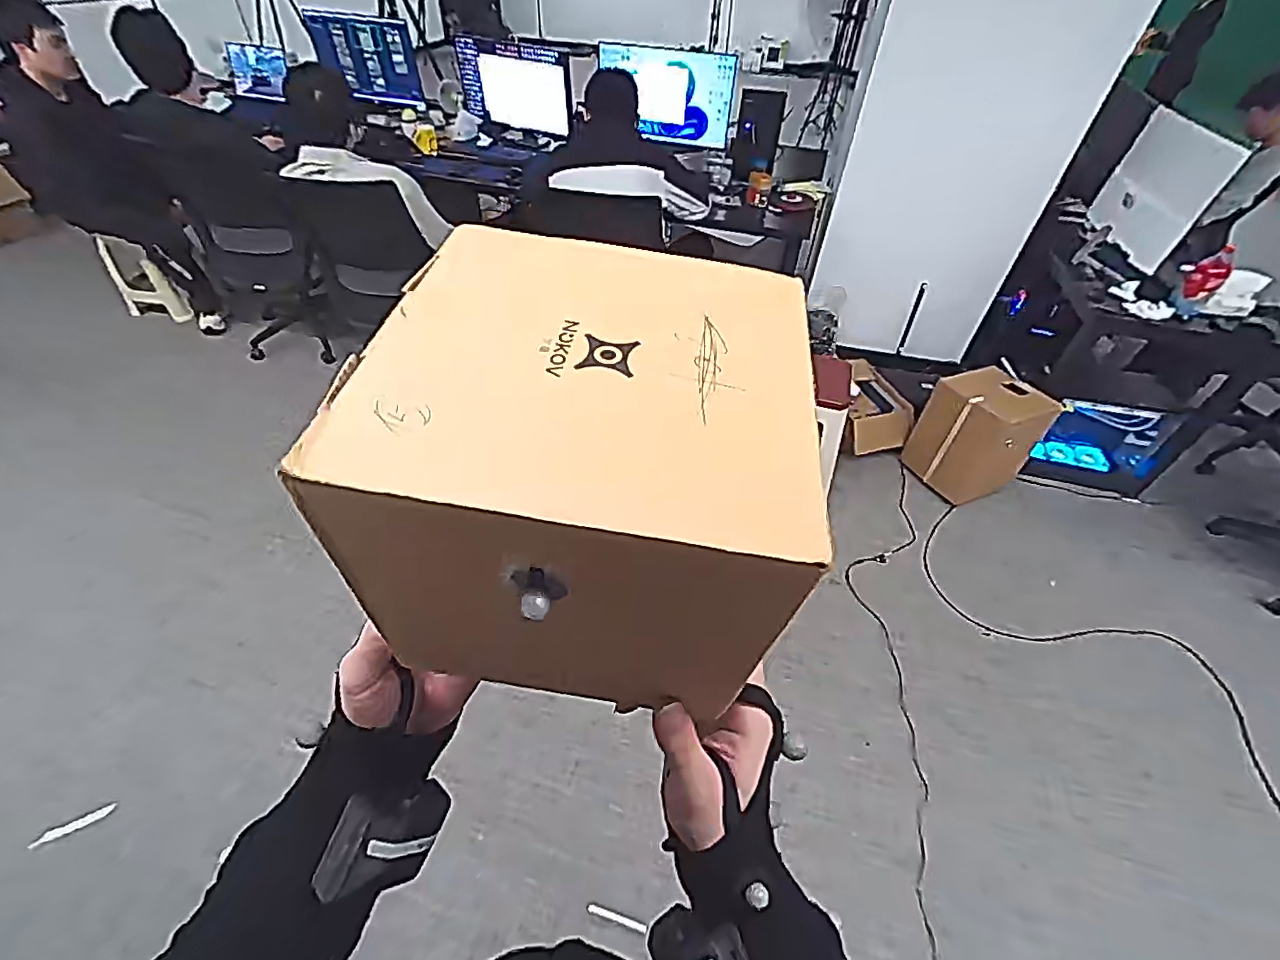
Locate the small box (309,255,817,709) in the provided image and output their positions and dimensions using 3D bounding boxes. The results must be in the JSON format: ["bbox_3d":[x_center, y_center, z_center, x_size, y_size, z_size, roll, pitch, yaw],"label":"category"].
[{"bbox_3d":[-0.024,0.008,0.291,0.179,0.176,0.168,8,51,0],"label":"small box"}]
